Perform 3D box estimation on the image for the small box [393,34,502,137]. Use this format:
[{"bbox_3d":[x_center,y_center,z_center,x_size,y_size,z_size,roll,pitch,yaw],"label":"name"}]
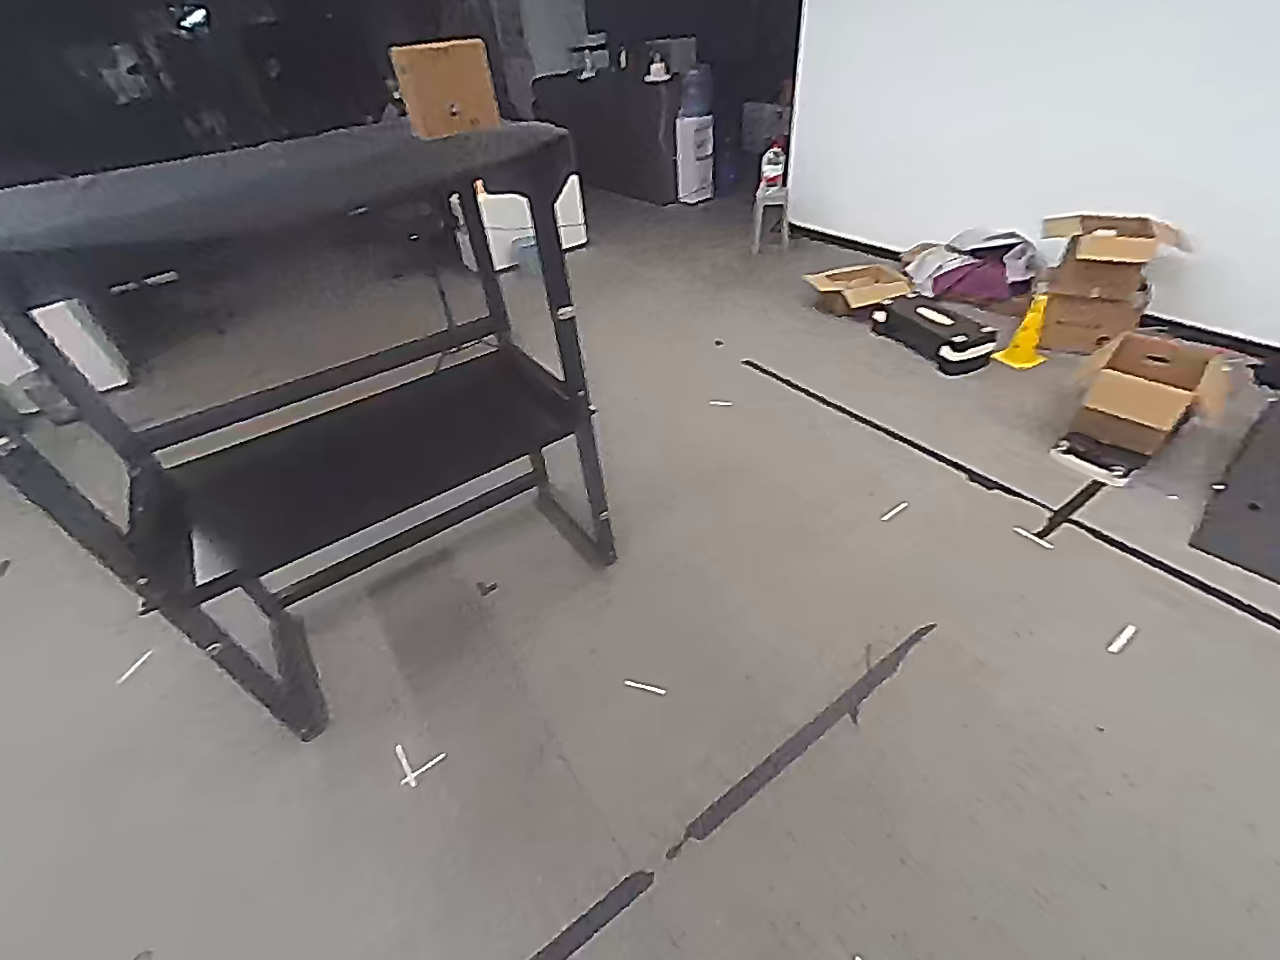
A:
[{"bbox_3d":[-0.430,-0.885,1.216,0.168,0.176,0.179,-24,44,-19],"label":"small box"}]
